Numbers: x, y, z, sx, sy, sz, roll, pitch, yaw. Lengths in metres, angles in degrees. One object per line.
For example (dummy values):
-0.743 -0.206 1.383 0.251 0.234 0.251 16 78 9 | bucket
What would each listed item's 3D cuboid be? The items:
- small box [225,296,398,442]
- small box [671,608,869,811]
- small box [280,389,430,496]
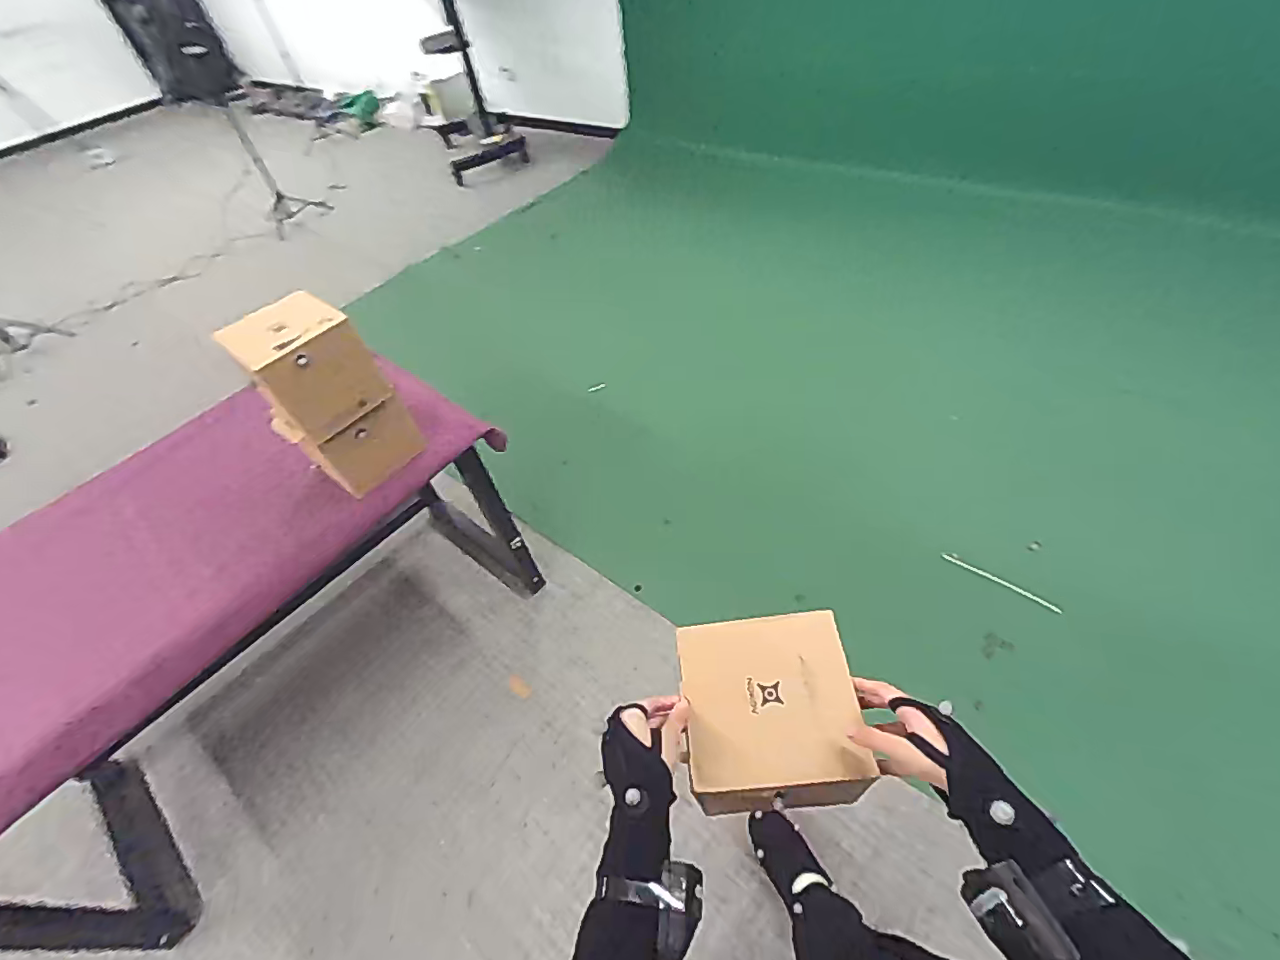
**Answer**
-0.572 -0.194 0.958 0.179 0.176 0.168 30 61 30 | small box
0.138 0.265 0.614 0.179 0.176 0.168 -8 51 6 | small box
-0.564 -0.097 1.092 0.168 0.176 0.179 28 59 28 | small box
